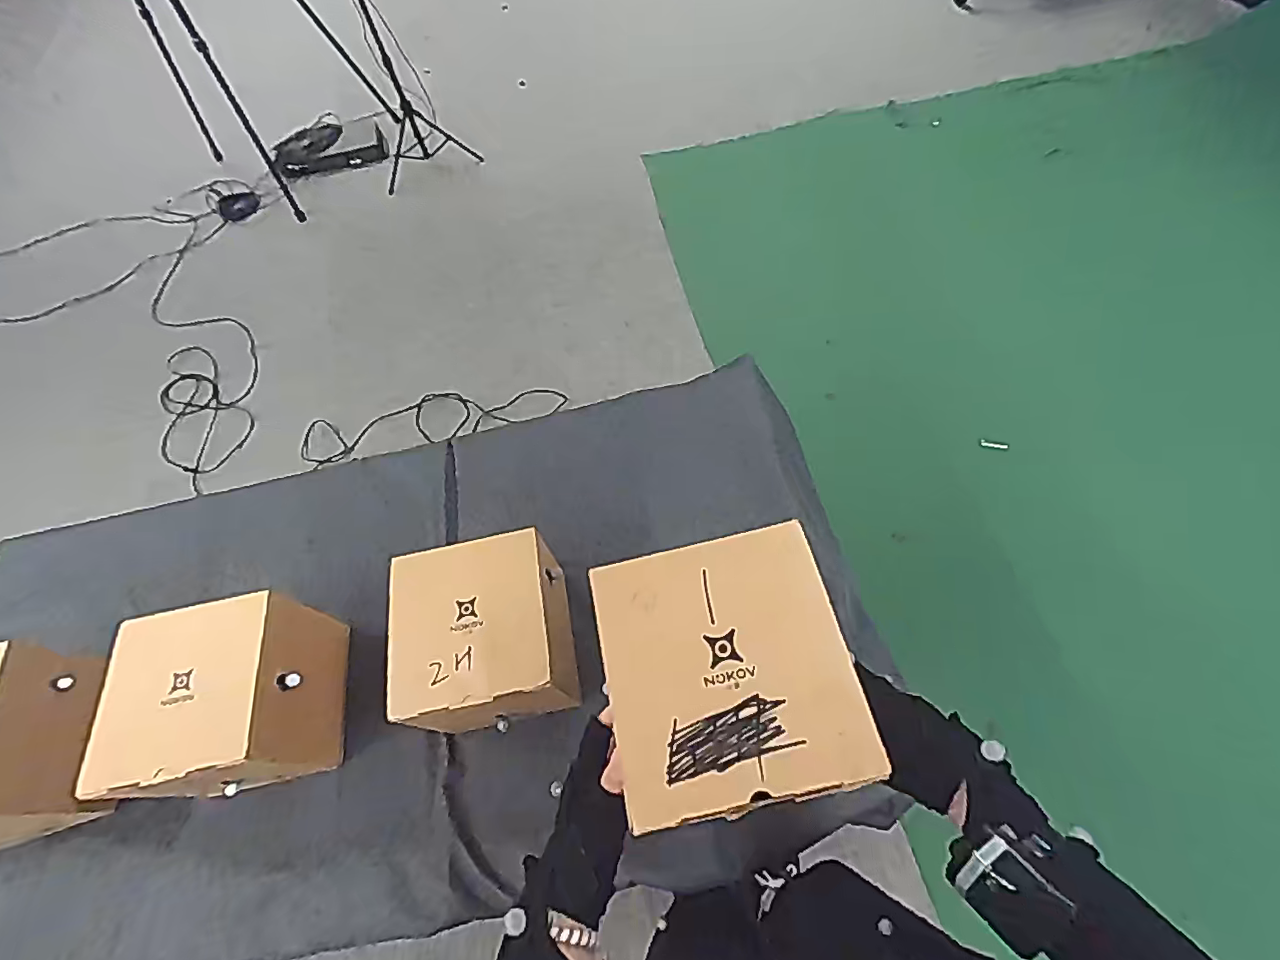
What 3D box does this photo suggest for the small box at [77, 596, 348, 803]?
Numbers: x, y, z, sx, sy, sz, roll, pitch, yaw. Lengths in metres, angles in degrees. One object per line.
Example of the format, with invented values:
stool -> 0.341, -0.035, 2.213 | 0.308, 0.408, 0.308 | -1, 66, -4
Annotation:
small box -> -0.461, 0.256, 0.621 | 0.168, 0.176, 0.179 | -12, 61, -3

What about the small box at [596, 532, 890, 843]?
small box -> 0.071, 0.165, 0.439 | 0.168, 0.176, 0.179 | -13, 62, 1

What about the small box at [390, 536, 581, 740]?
small box -> -0.170, 0.190, 0.633 | 0.168, 0.176, 0.179 | -12, 61, -2
